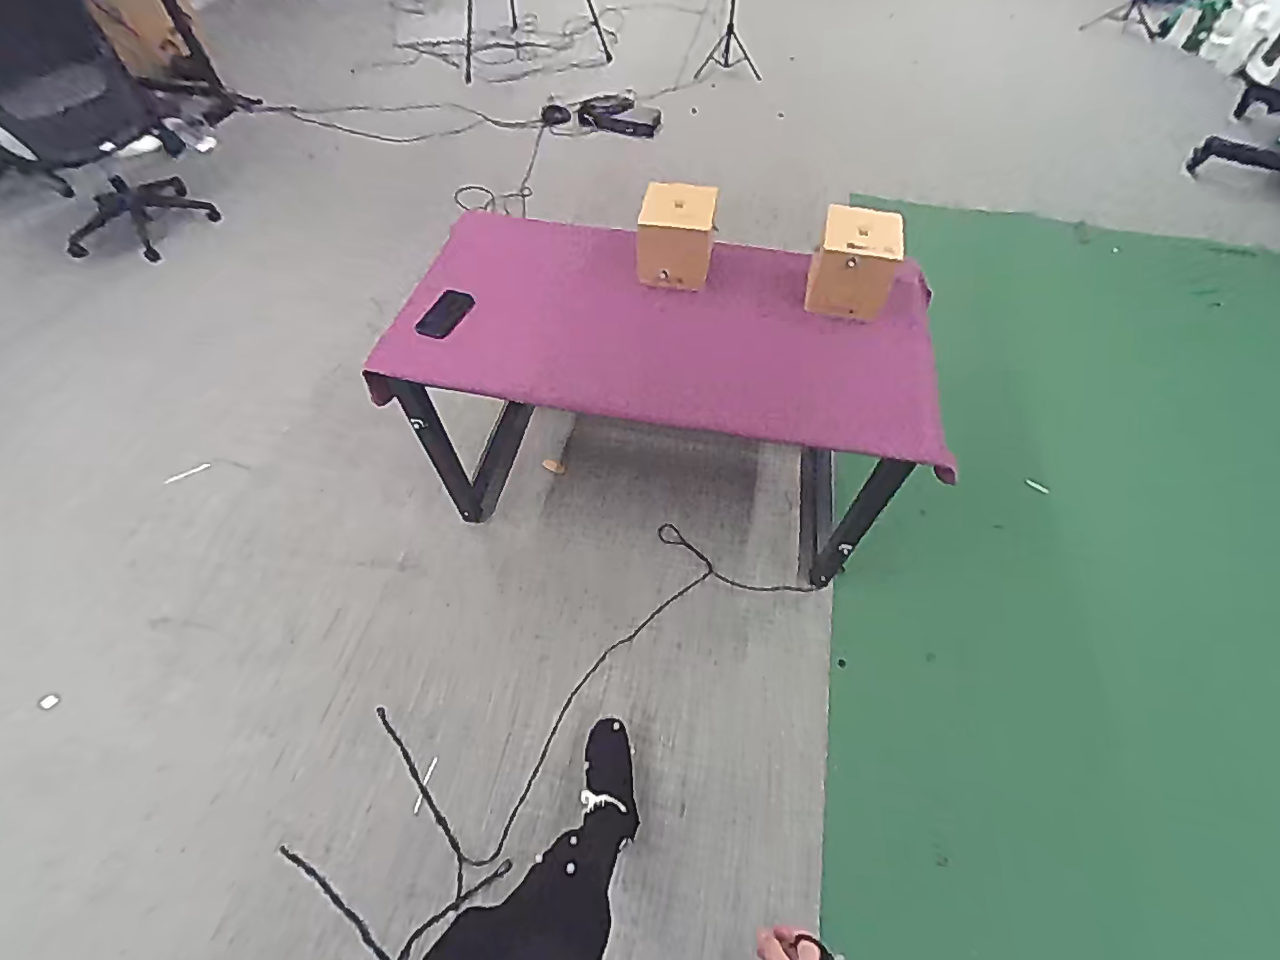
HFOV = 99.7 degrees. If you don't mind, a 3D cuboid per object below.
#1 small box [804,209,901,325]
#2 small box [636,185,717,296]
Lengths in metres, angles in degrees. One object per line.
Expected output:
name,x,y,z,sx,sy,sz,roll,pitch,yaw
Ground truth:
small box,0.483,-0.488,1.243,0.168,0.176,0.179,11,56,9
small box,0.085,-0.574,1.300,0.168,0.176,0.179,9,57,7
